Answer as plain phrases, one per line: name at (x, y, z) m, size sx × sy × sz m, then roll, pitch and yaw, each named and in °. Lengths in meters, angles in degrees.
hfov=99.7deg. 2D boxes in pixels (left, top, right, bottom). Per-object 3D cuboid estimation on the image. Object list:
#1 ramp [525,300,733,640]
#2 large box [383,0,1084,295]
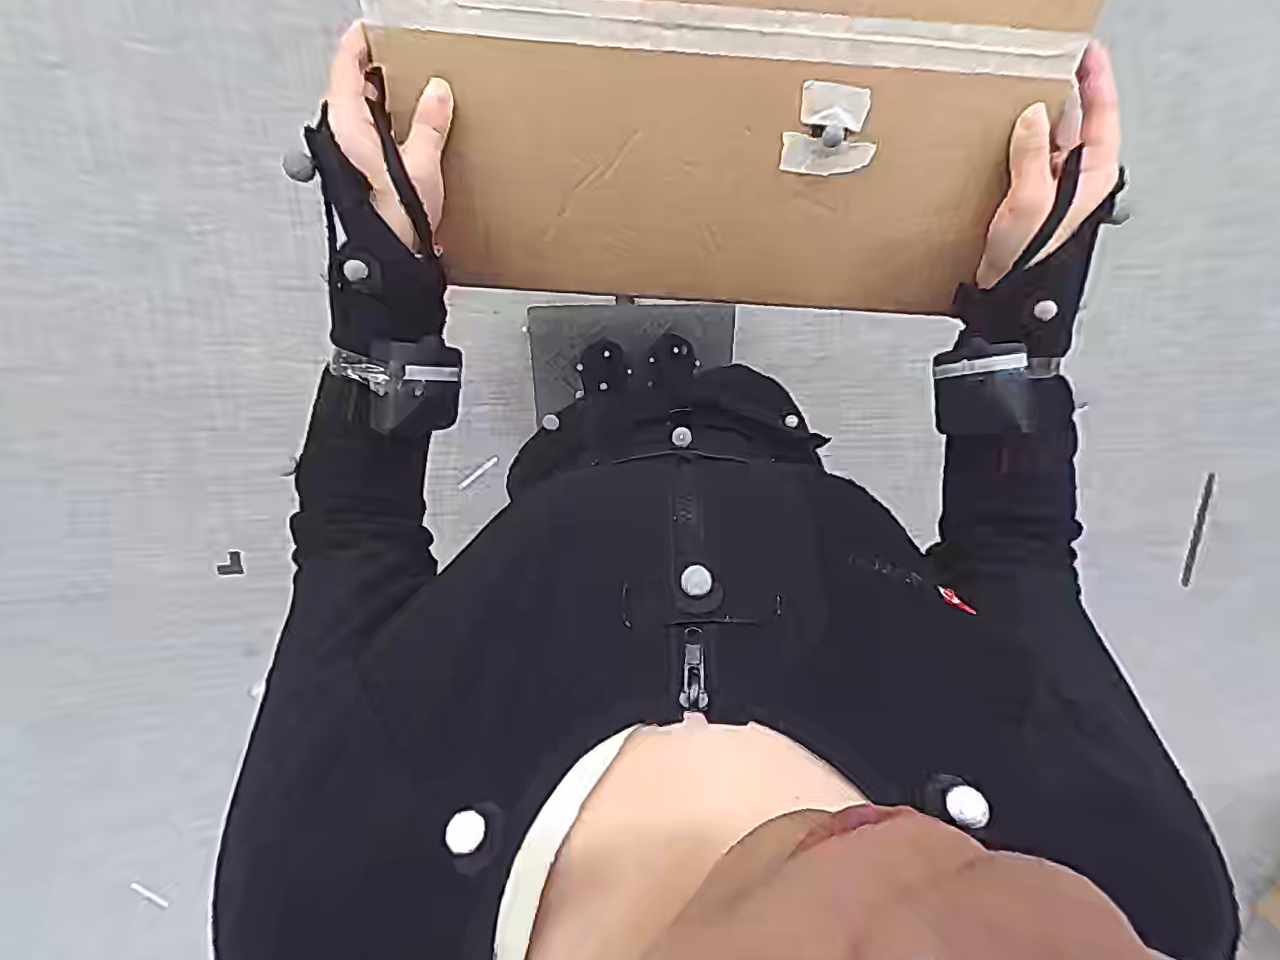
ramp at (-0.021, 0.033, 1.468) m, size 0.509 × 0.206 × 0.991 m, roll -3°, pitch 106°, yaw -4°
large box at (0.048, -0.358, 0.426) m, size 0.408 × 0.320 × 0.320 m, roll 2°, pitch 130°, yaw -3°
